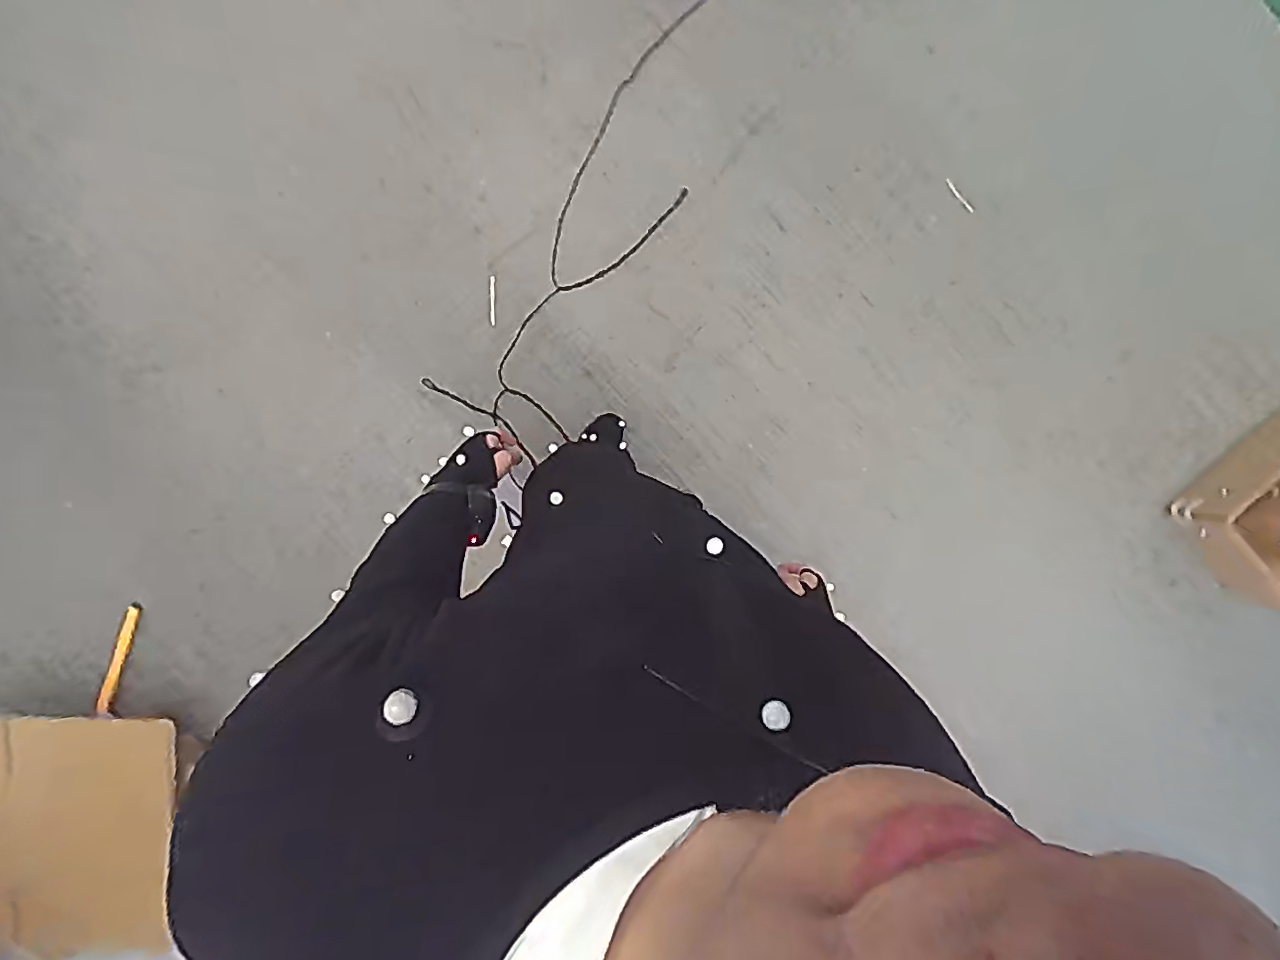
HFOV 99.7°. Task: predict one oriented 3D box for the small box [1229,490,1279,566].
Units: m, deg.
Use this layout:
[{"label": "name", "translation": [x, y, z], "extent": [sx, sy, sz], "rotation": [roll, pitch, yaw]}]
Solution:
[{"label": "small box", "translation": [1.849, 0.139, 1.523], "extent": [0.168, 0.176, 0.179], "rotation": [-39, 94, 1]}]
